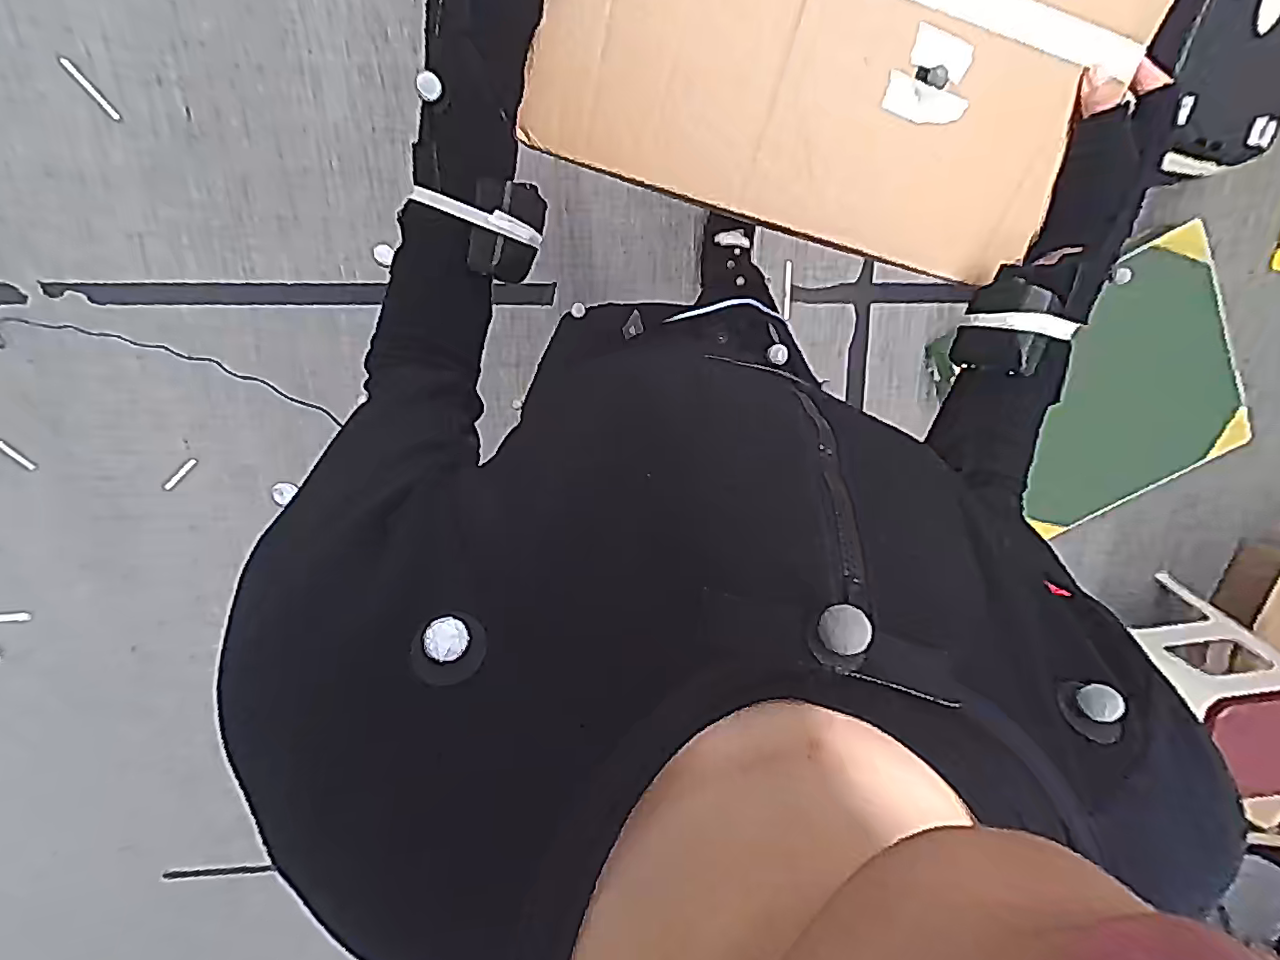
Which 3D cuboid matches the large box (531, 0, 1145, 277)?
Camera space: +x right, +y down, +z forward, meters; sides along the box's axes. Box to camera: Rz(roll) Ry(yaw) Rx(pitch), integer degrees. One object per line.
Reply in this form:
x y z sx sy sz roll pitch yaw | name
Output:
0.138 -0.412 0.490 0.408 0.320 0.320 12 119 -10 | large box
